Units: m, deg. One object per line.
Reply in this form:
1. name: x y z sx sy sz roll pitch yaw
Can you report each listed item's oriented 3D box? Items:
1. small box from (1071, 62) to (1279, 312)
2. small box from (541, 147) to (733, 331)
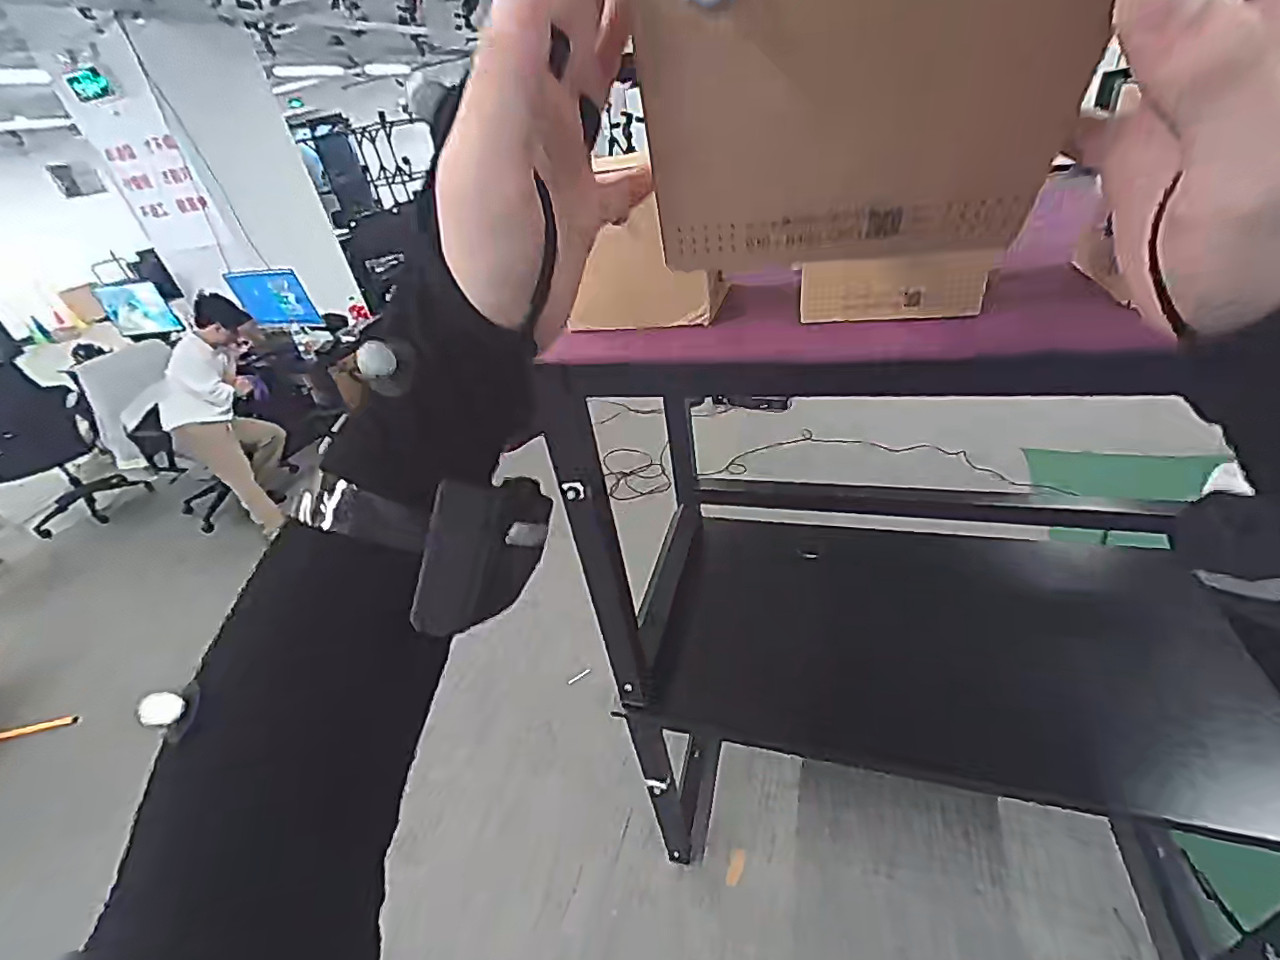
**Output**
1. small box: 0.524 -0.256 0.472 0.179 0.176 0.168 3 34 20
2. small box: 0.010 -0.285 0.648 0.179 0.176 0.168 3 36 18
